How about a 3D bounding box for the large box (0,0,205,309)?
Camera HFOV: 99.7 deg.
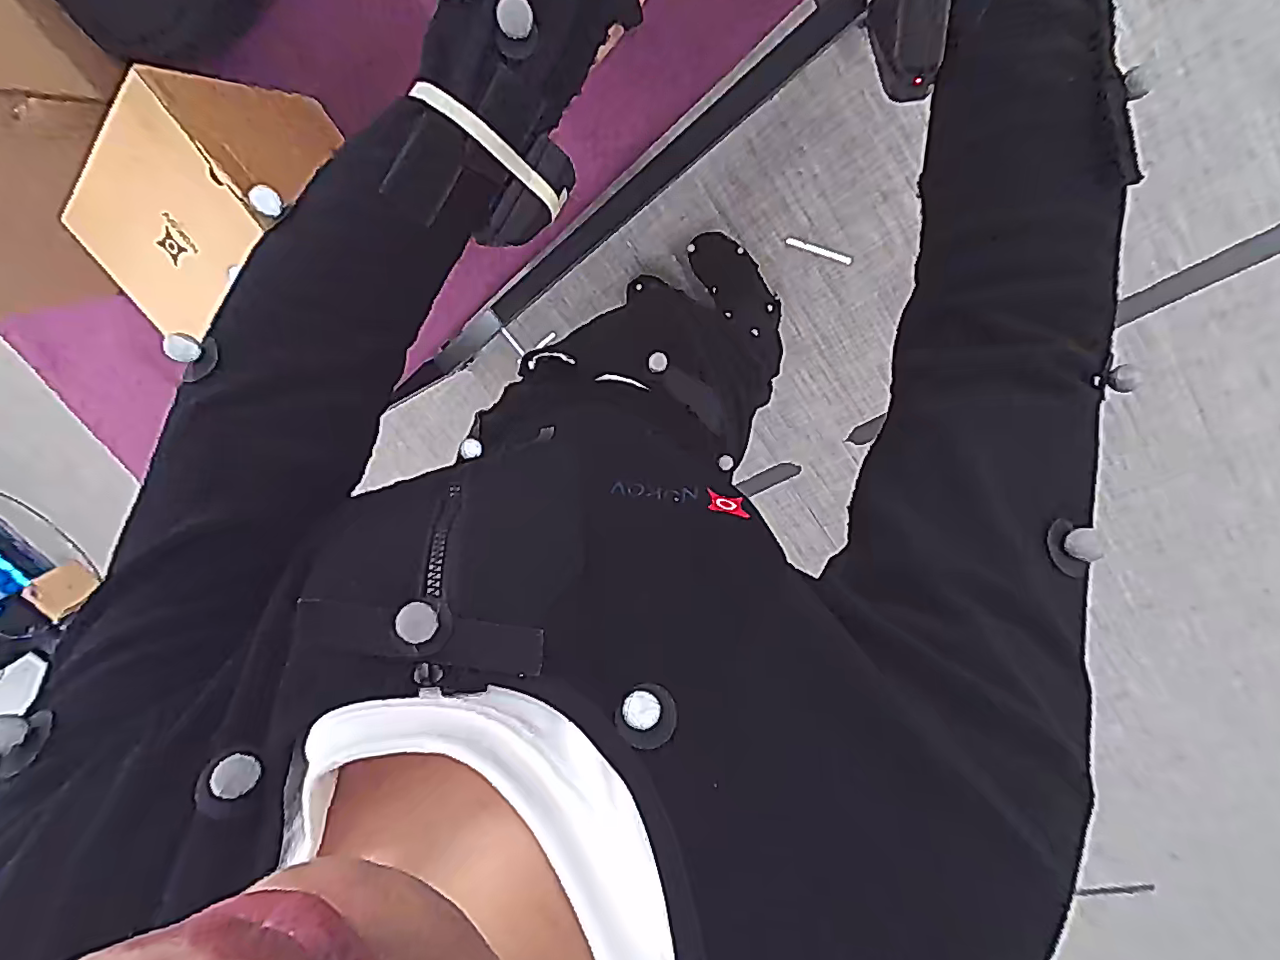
[{"bbox_3d":[-0.708,-0.389,0.446,0.320,0.320,0.408,-32,108,29],"label":"large box"}]
